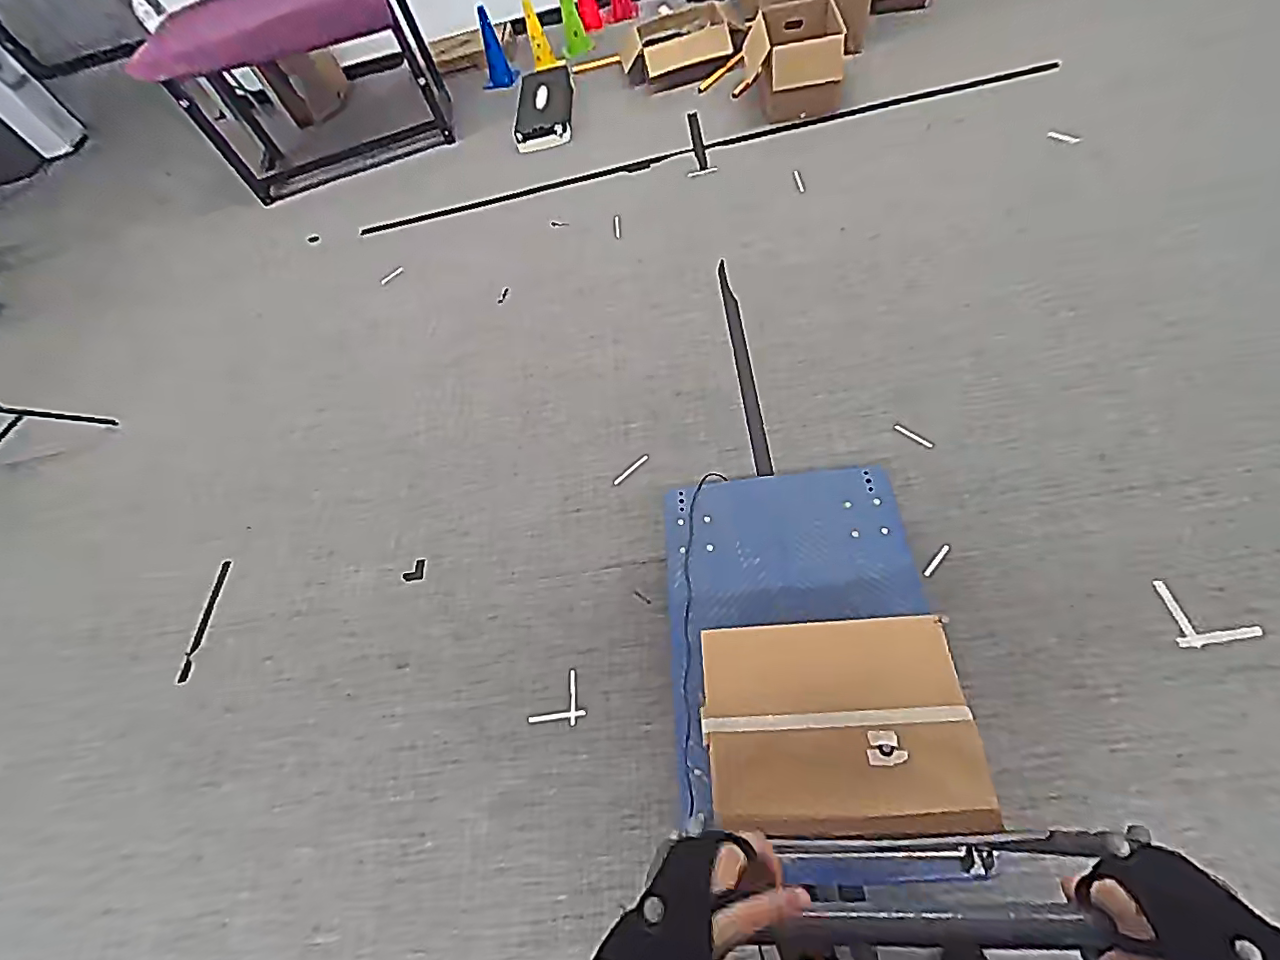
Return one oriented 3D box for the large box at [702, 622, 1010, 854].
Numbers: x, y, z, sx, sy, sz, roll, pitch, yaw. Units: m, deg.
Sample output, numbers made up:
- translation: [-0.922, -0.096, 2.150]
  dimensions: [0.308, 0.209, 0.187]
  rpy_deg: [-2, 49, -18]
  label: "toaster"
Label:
- translation: [0.332, 0.465, 0.965]
  dimensions: [0.408, 0.320, 0.320]
  rpy_deg: [-6, 59, 8]
  label: "large box"
